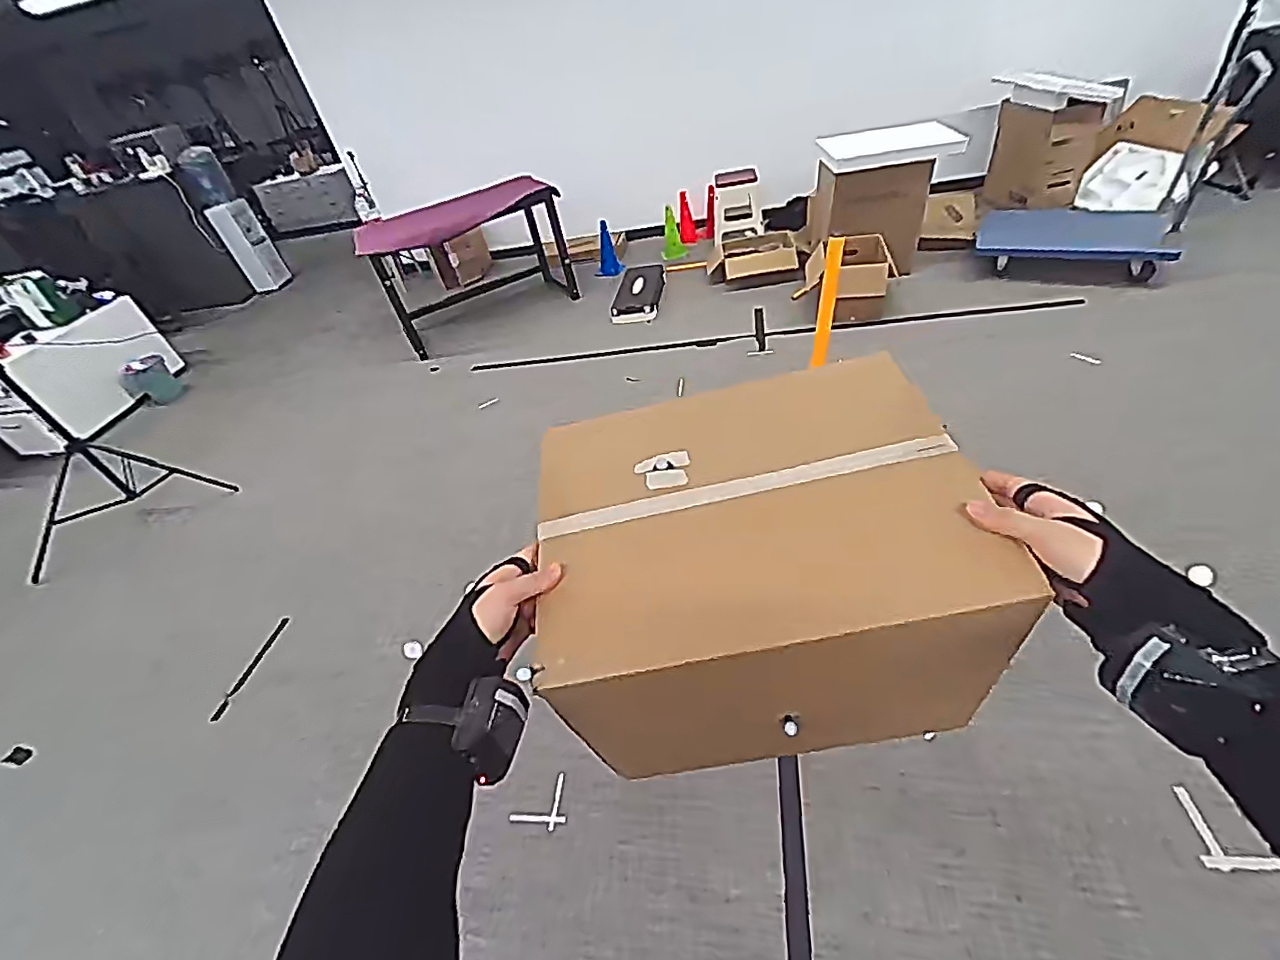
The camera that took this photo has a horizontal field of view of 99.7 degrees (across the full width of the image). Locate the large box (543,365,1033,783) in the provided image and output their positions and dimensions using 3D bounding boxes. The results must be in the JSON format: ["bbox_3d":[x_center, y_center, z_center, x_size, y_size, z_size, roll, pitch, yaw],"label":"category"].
[{"bbox_3d":[0.131,0.122,0.637,0.408,0.320,0.320,-14,46,6],"label":"large box"}]
